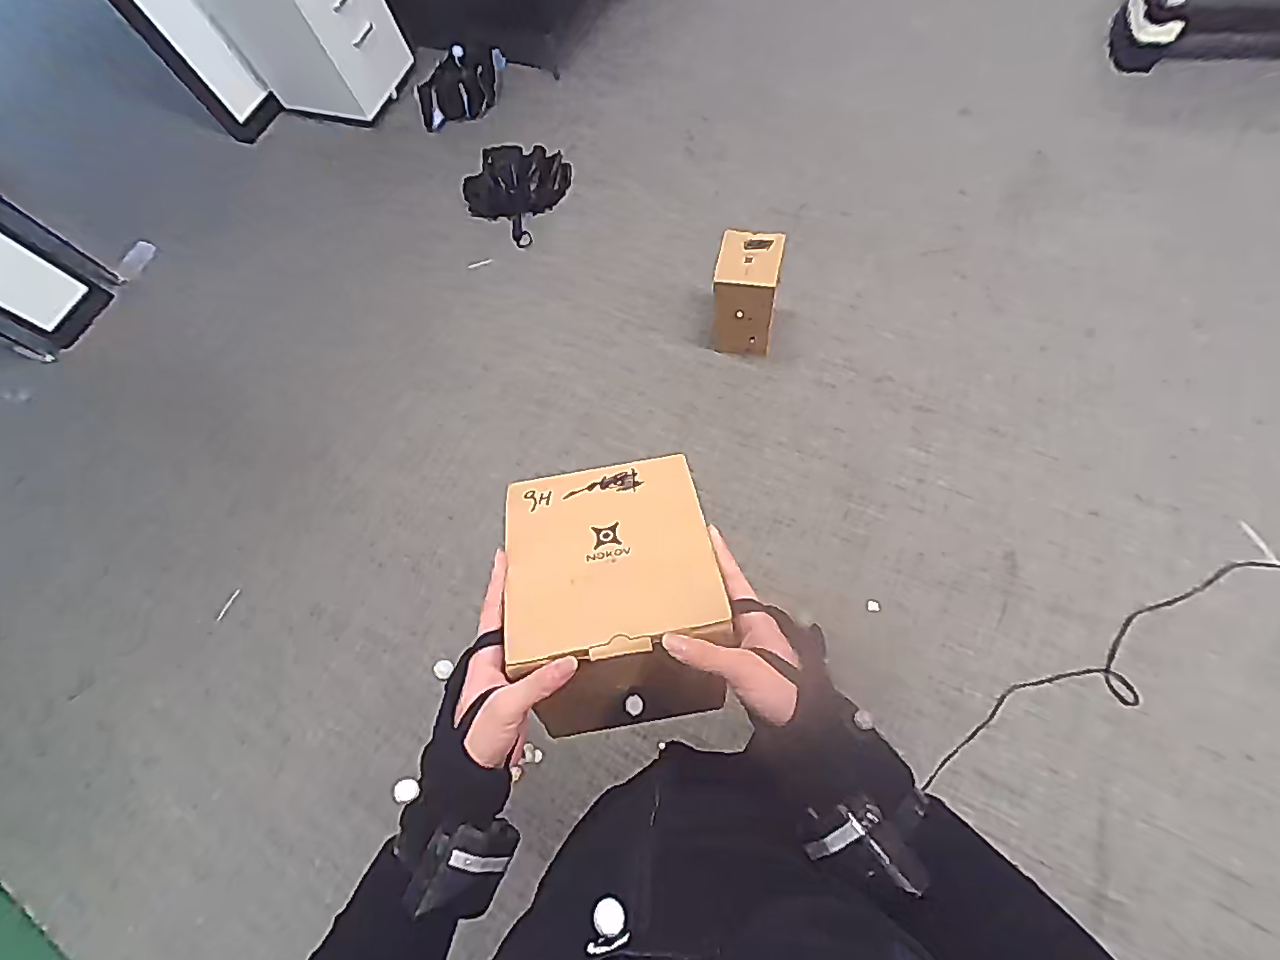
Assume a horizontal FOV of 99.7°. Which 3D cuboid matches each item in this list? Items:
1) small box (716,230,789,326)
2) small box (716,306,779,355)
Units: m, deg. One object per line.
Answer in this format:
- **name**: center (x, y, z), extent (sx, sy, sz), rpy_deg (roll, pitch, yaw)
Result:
- **small box**: center (0.309, -0.556, 1.496), extent (0.168, 0.176, 0.179), rpy_deg (10, 73, 14)
- **small box**: center (0.332, -0.502, 1.650), extent (0.168, 0.176, 0.179), rpy_deg (9, 70, 13)
